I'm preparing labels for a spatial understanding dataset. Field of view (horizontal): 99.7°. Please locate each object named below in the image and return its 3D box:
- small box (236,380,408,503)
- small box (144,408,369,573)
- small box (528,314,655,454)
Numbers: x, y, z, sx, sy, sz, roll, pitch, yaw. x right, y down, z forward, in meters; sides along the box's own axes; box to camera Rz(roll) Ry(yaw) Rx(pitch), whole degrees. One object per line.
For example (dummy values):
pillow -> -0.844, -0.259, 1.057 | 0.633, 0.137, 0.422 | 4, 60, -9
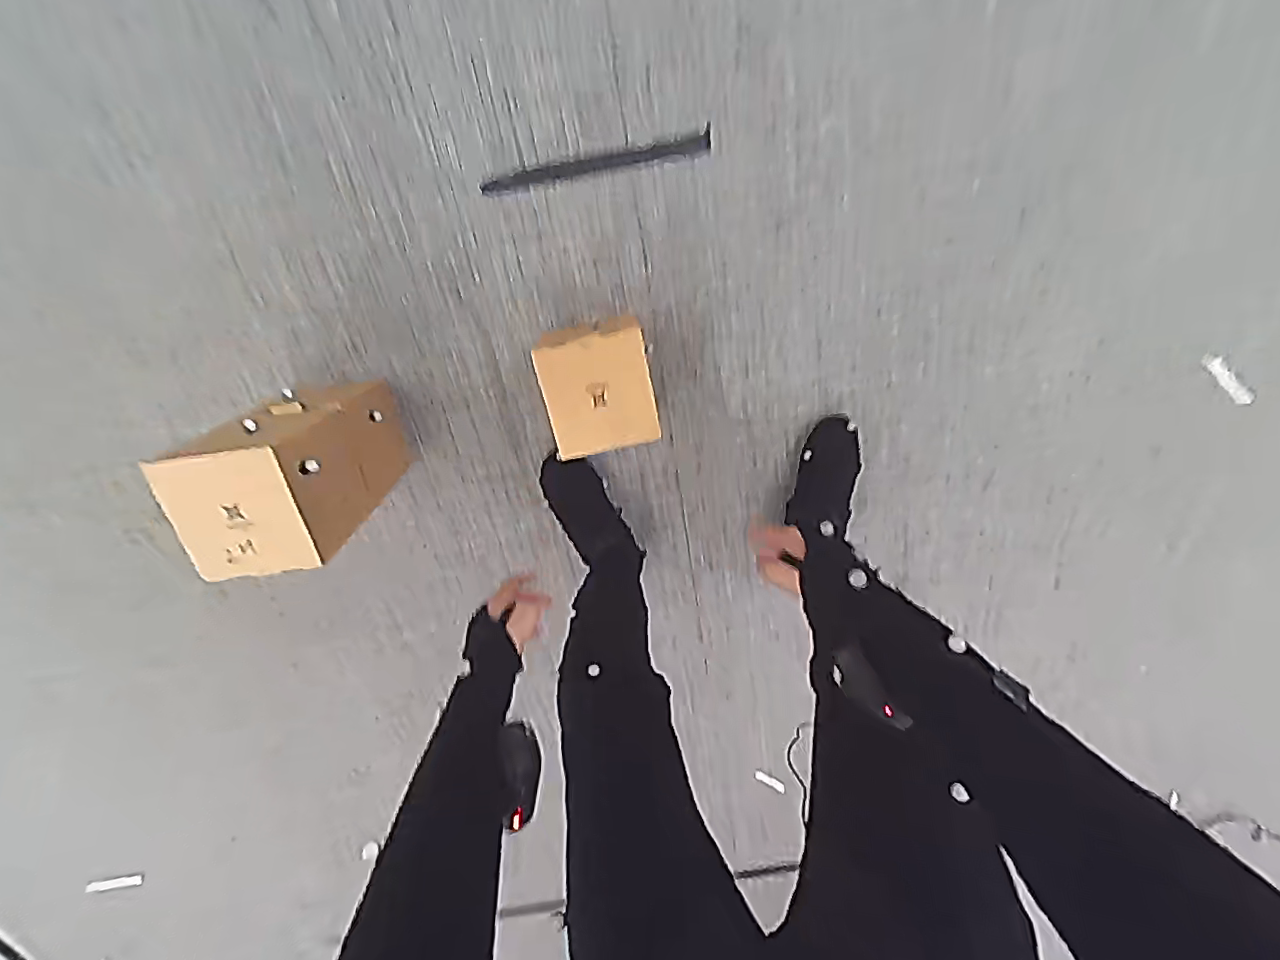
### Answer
small box -> -0.518, -0.065, 0.911 | 0.168, 0.176, 0.179 | -7, 113, 1
small box -> -0.517, 0.005, 0.762 | 0.168, 0.176, 0.179 | -7, 114, 1
small box -> -0.073, -0.164, 0.896 | 0.168, 0.176, 0.179 | -12, 112, 2
